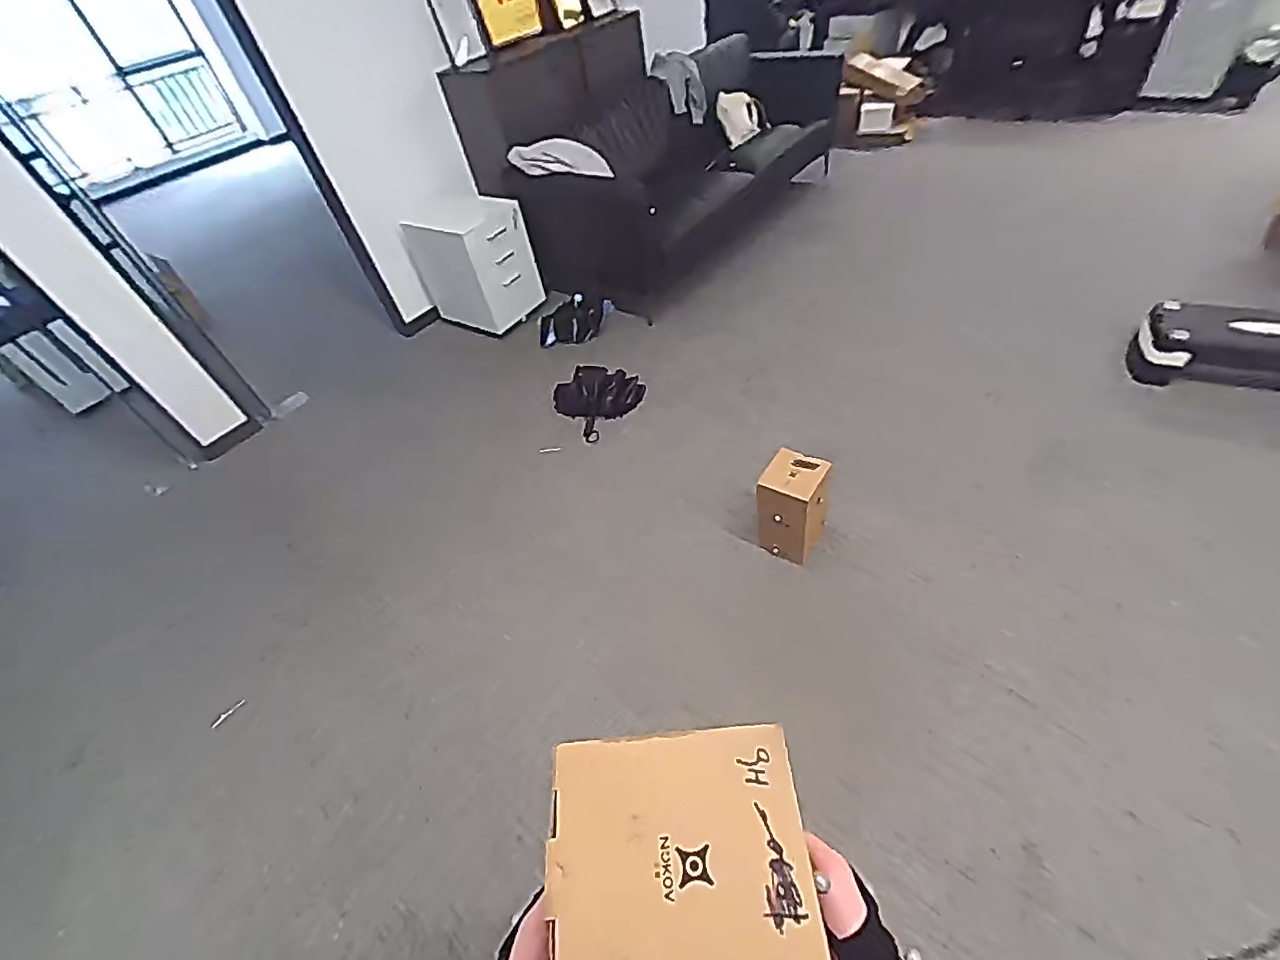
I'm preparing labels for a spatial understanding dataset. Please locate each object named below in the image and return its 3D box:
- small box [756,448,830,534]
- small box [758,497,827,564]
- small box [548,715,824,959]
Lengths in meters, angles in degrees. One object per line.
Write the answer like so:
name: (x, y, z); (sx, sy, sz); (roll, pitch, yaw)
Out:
small box: (0.473, 0.035, 1.681); (0.168, 0.176, 0.179); (21, 55, 31)
small box: (0.506, 0.143, 1.801); (0.168, 0.176, 0.179); (22, 56, 31)
small box: (0.029, 0.300, 0.438); (0.179, 0.176, 0.168); (-5, 56, -1)
